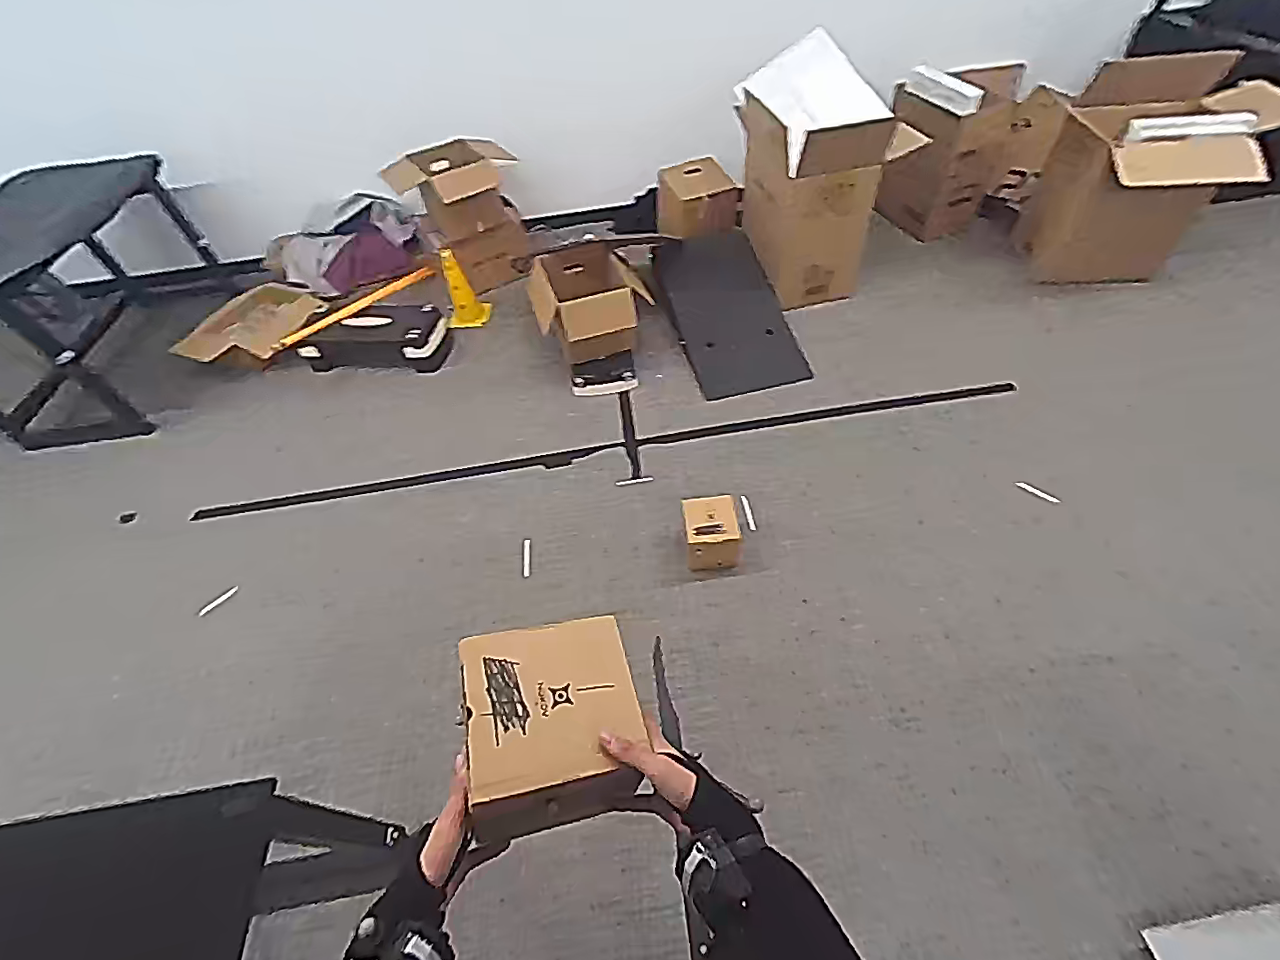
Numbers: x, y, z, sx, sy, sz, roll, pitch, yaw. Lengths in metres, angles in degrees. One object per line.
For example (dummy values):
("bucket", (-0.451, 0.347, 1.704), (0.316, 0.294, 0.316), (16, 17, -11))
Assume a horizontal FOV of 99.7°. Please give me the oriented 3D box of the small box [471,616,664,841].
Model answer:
("small box", (-0.091, 0.275, 0.602), (0.179, 0.176, 0.168), (-3, 46, -18))
